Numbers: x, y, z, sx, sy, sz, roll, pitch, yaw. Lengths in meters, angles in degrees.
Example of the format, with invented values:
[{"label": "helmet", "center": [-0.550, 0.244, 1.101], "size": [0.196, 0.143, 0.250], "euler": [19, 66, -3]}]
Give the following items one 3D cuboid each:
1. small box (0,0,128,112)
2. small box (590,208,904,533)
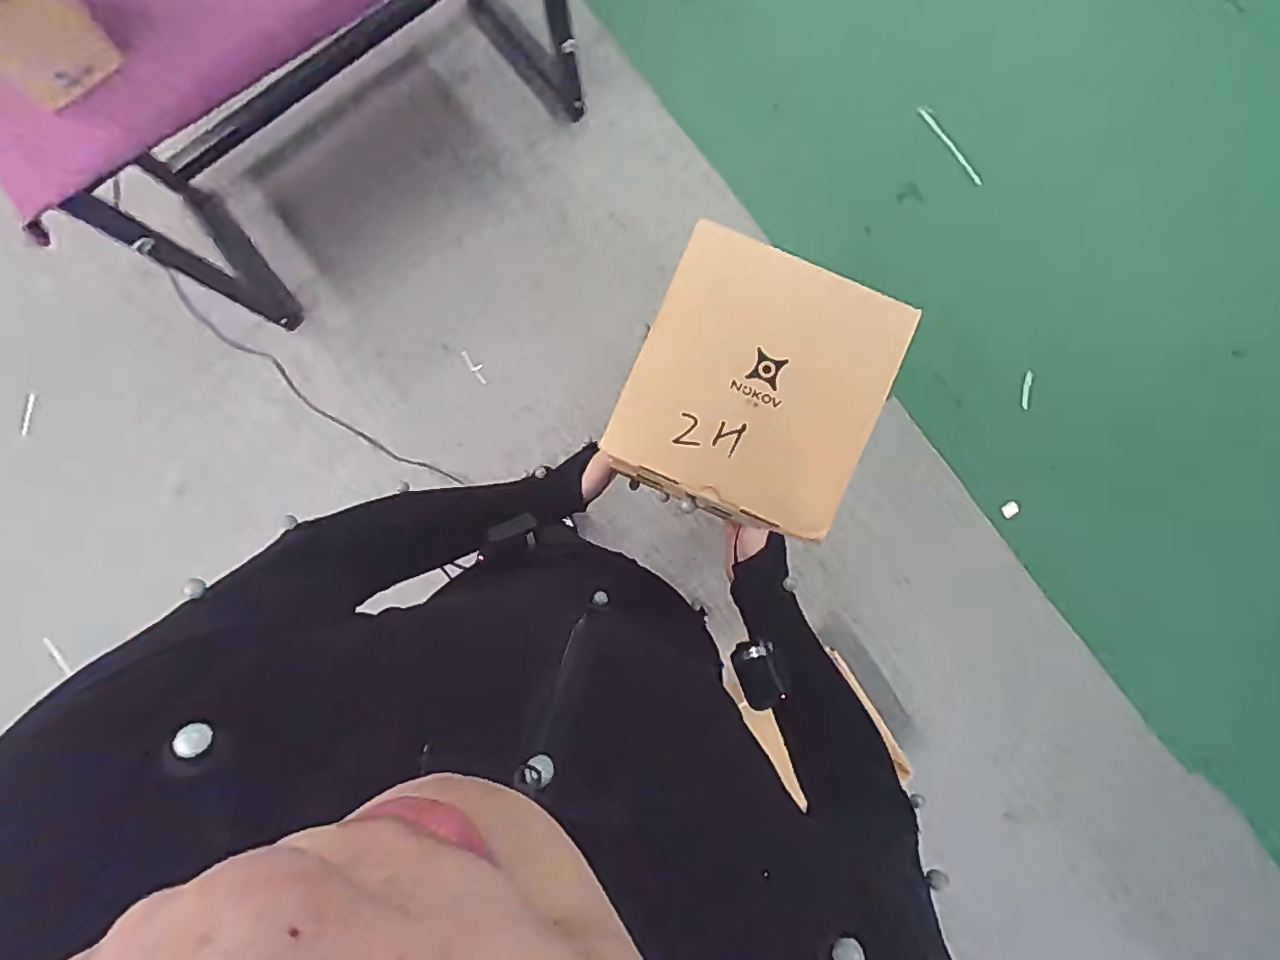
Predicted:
[{"label": "small box", "center": [-1.055, -0.790, 0.922], "size": [0.168, 0.176, 0.179], "euler": [-38, 86, -2]}, {"label": "small box", "center": [0.072, -0.073, 0.442], "size": [0.168, 0.176, 0.179], "euler": [23, 90, 1]}]
